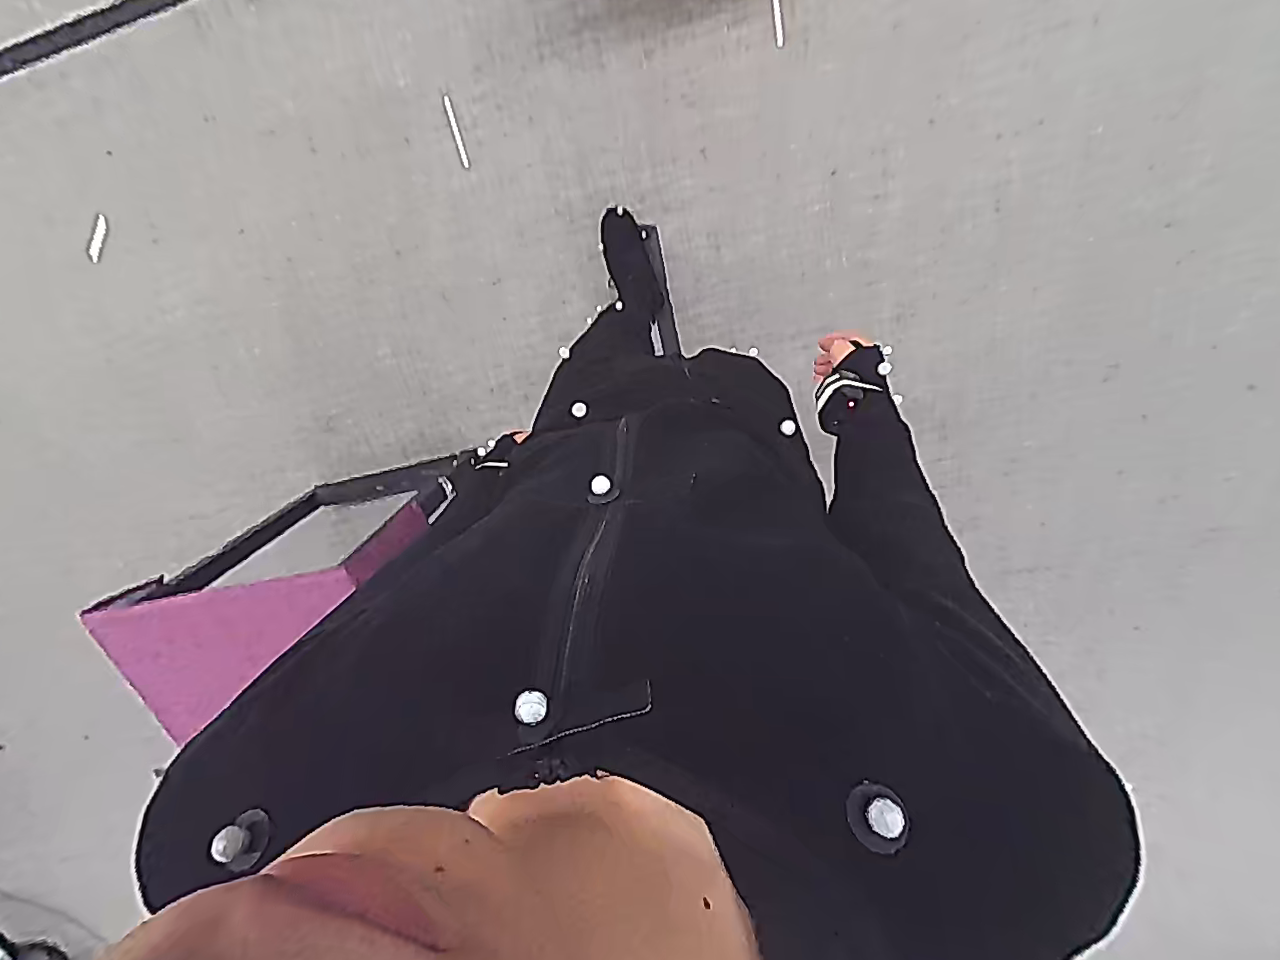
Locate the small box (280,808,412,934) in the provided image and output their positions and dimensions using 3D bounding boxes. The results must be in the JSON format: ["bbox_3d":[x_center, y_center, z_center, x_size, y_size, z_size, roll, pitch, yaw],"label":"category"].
[{"bbox_3d":[-0.640,0.868,1.211,0.179,0.176,0.168,-14,110,10],"label":"small box"}]
